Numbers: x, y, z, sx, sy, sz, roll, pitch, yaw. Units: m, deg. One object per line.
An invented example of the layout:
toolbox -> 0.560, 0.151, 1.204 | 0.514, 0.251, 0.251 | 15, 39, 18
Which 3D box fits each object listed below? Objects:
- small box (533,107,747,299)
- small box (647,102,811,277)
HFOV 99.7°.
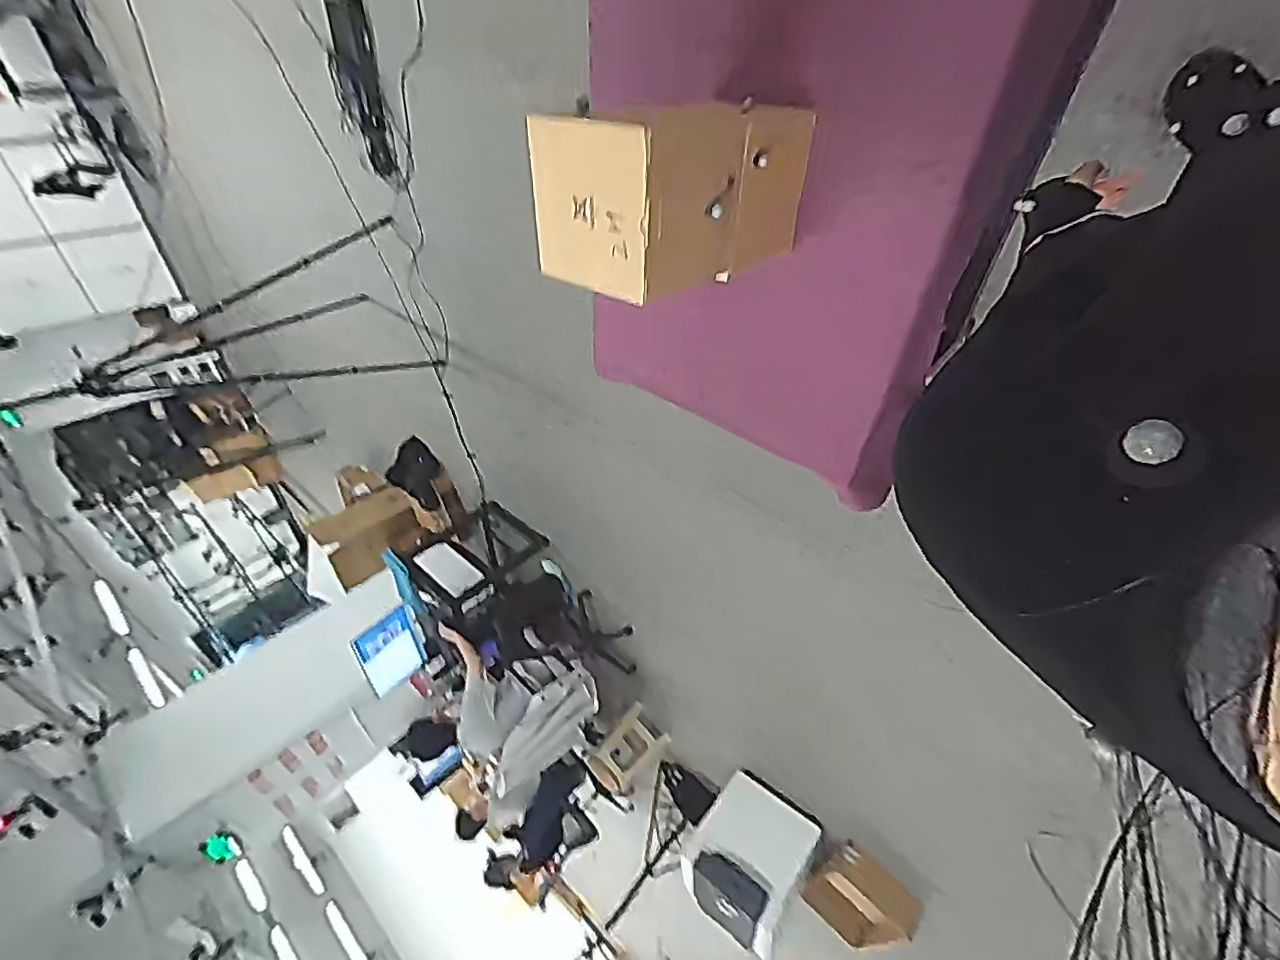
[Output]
small box -> -0.001, -0.333, 0.638 | 0.179, 0.176, 0.168 | 29, 136, 31
small box -> 0.111, -0.402, 0.738 | 0.168, 0.176, 0.179 | 29, 136, 31
